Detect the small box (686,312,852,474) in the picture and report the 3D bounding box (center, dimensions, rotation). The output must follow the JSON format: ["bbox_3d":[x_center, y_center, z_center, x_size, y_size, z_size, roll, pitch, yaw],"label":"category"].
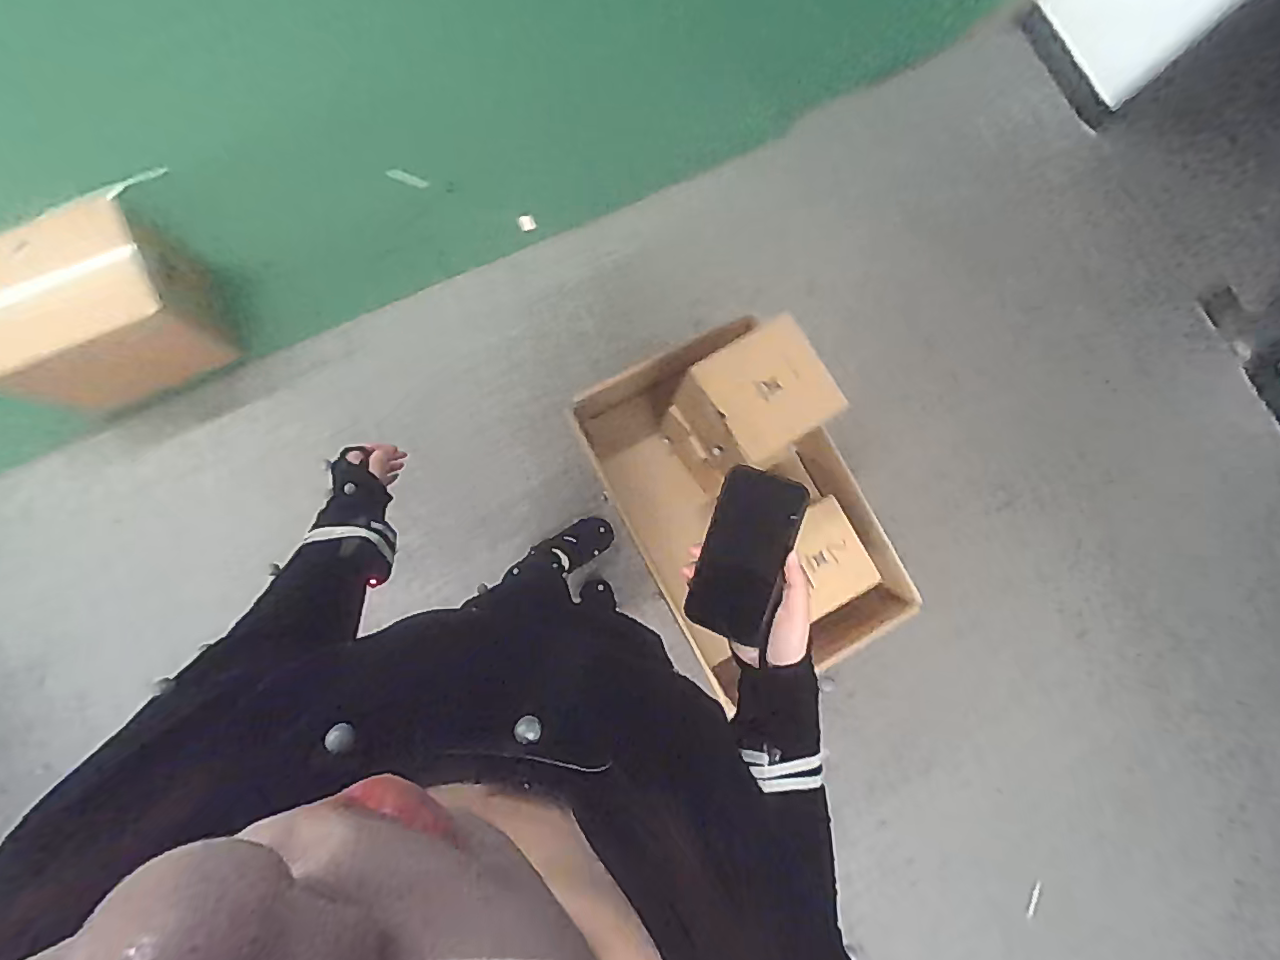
[{"bbox_3d":[0.186,-0.124,0.845,0.179,0.176,0.168,-30,87,-7],"label":"small box"}]
